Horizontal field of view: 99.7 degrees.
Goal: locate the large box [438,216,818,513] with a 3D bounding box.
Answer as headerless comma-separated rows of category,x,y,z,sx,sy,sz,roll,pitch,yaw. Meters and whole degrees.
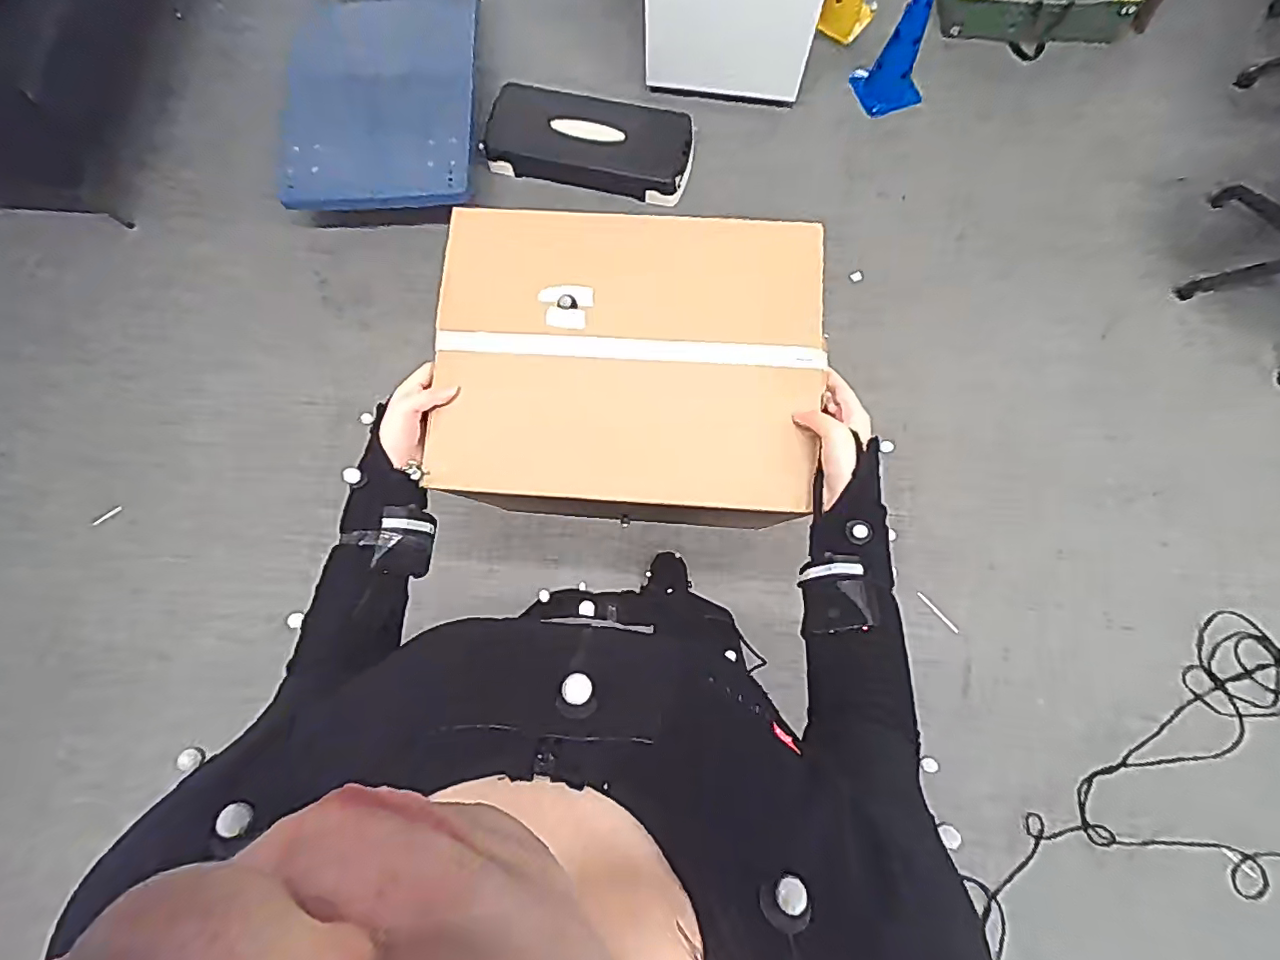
large box,-0.001,-0.121,0.726,0.408,0.320,0.320,3,82,4
